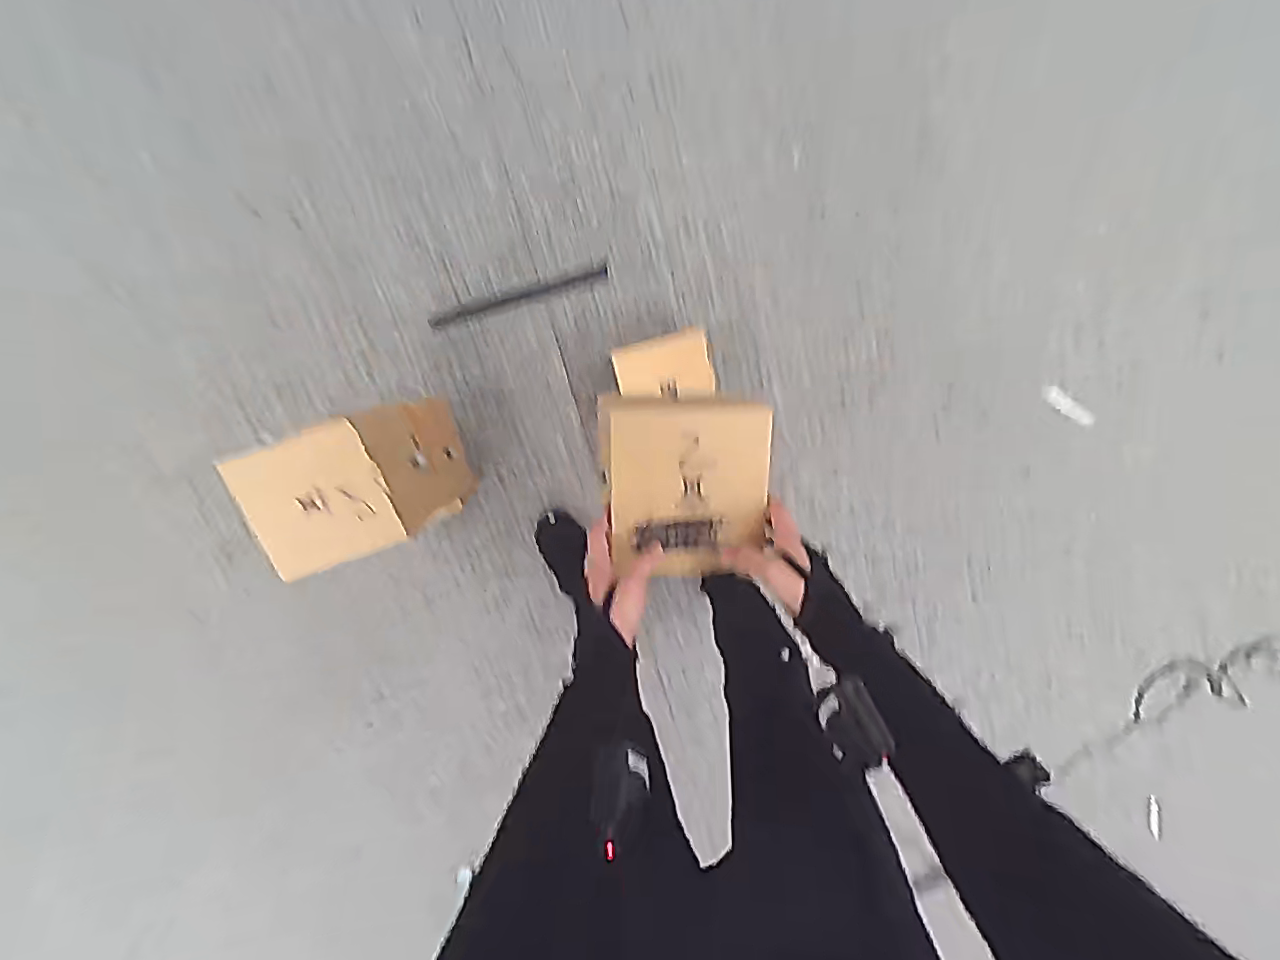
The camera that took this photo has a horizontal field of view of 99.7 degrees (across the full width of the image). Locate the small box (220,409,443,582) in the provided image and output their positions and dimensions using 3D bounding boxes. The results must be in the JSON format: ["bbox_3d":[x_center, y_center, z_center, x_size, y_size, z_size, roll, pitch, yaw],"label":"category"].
[{"bbox_3d":[-0.400,0.011,0.736,0.179,0.176,0.168,-19,104,1],"label":"small box"}]

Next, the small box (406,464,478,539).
[{"bbox_3d":[-0.446,-0.001,1.068,0.168,0.176,0.179,-26,105,3],"label":"small box"}]

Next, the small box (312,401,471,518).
[{"bbox_3d":[-0.397,-0.031,0.896,0.168,0.176,0.179,-12,104,-1],"label":"small box"}]

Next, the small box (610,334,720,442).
[{"bbox_3d":[0.042,-0.184,1.065,0.179,0.176,0.168,-15,105,-2],"label":"small box"}]
